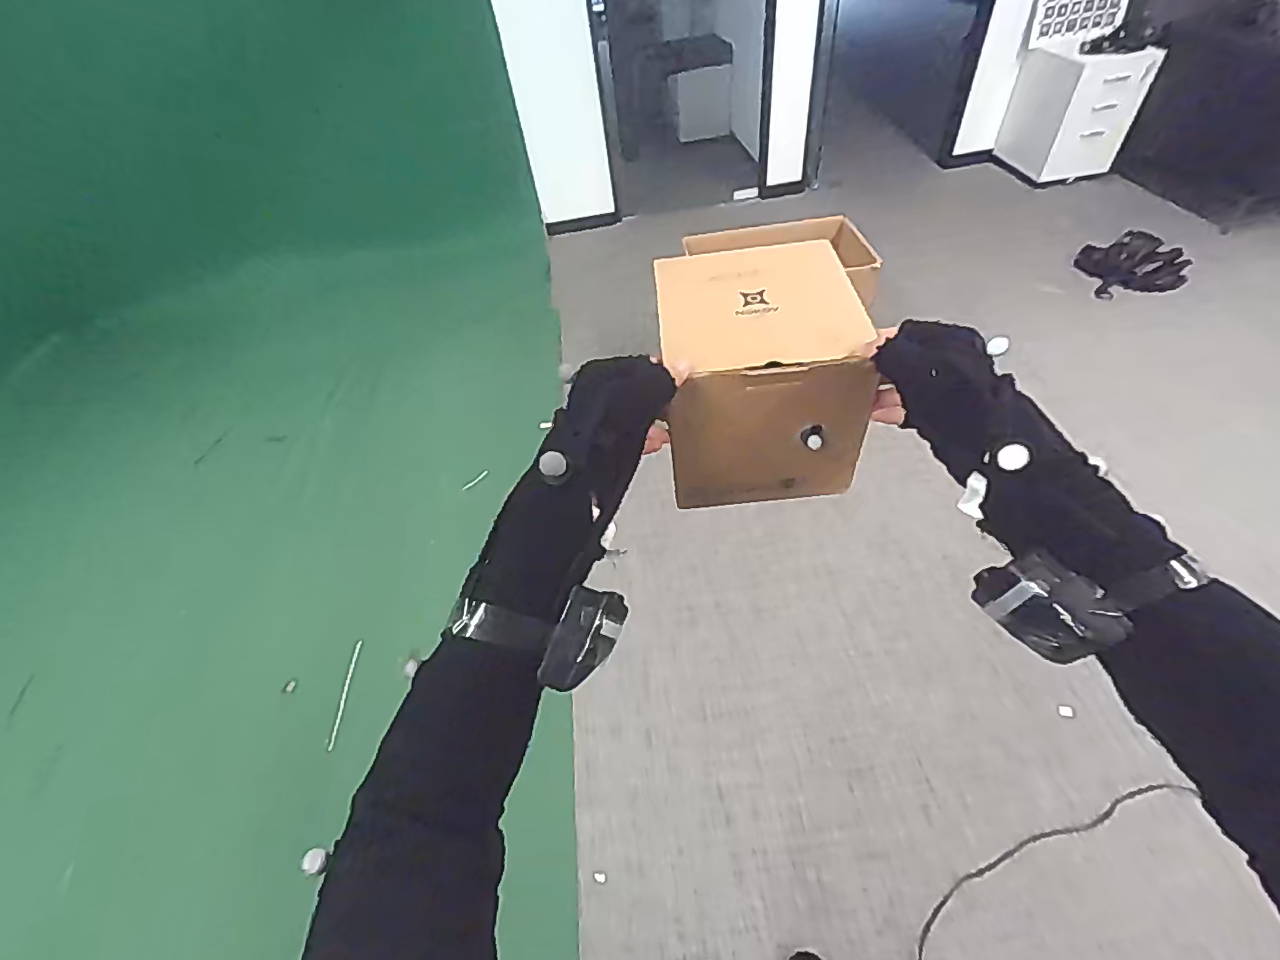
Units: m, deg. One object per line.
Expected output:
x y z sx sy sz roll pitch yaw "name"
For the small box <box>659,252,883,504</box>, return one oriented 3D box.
0.109 -0.090 0.519 0.168 0.176 0.179 -5 48 3 "small box"
